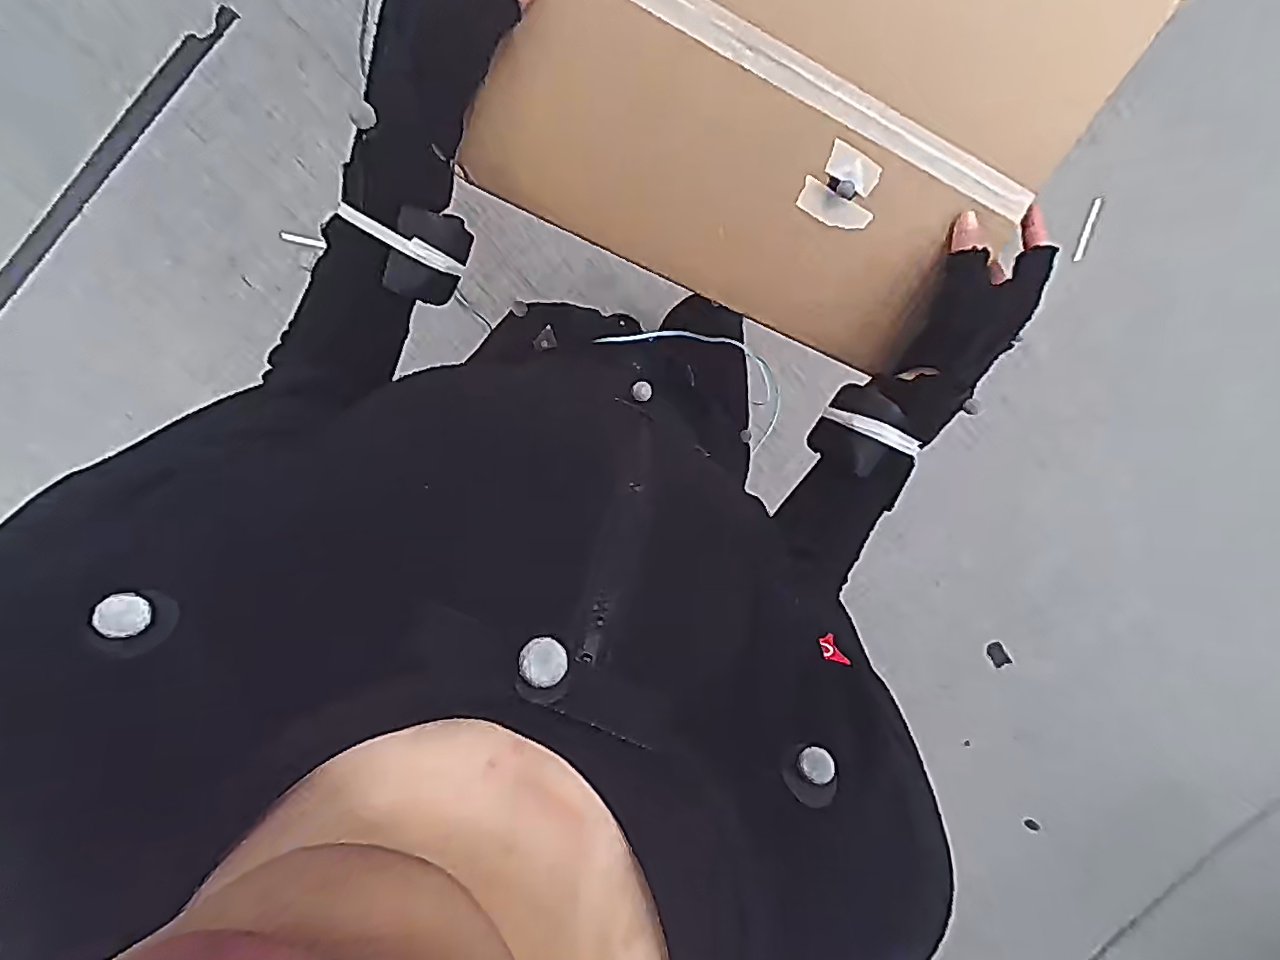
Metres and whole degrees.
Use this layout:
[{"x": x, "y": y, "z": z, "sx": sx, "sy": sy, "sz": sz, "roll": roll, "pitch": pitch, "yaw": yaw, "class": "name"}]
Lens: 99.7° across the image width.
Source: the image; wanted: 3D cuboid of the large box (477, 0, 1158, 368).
[{"x": 0.111, "y": -0.365, "z": 0.512, "sx": 0.408, "sy": 0.320, "sz": 0.320, "roll": 21, "pitch": 121, "yaw": -13, "class": "large box"}]
